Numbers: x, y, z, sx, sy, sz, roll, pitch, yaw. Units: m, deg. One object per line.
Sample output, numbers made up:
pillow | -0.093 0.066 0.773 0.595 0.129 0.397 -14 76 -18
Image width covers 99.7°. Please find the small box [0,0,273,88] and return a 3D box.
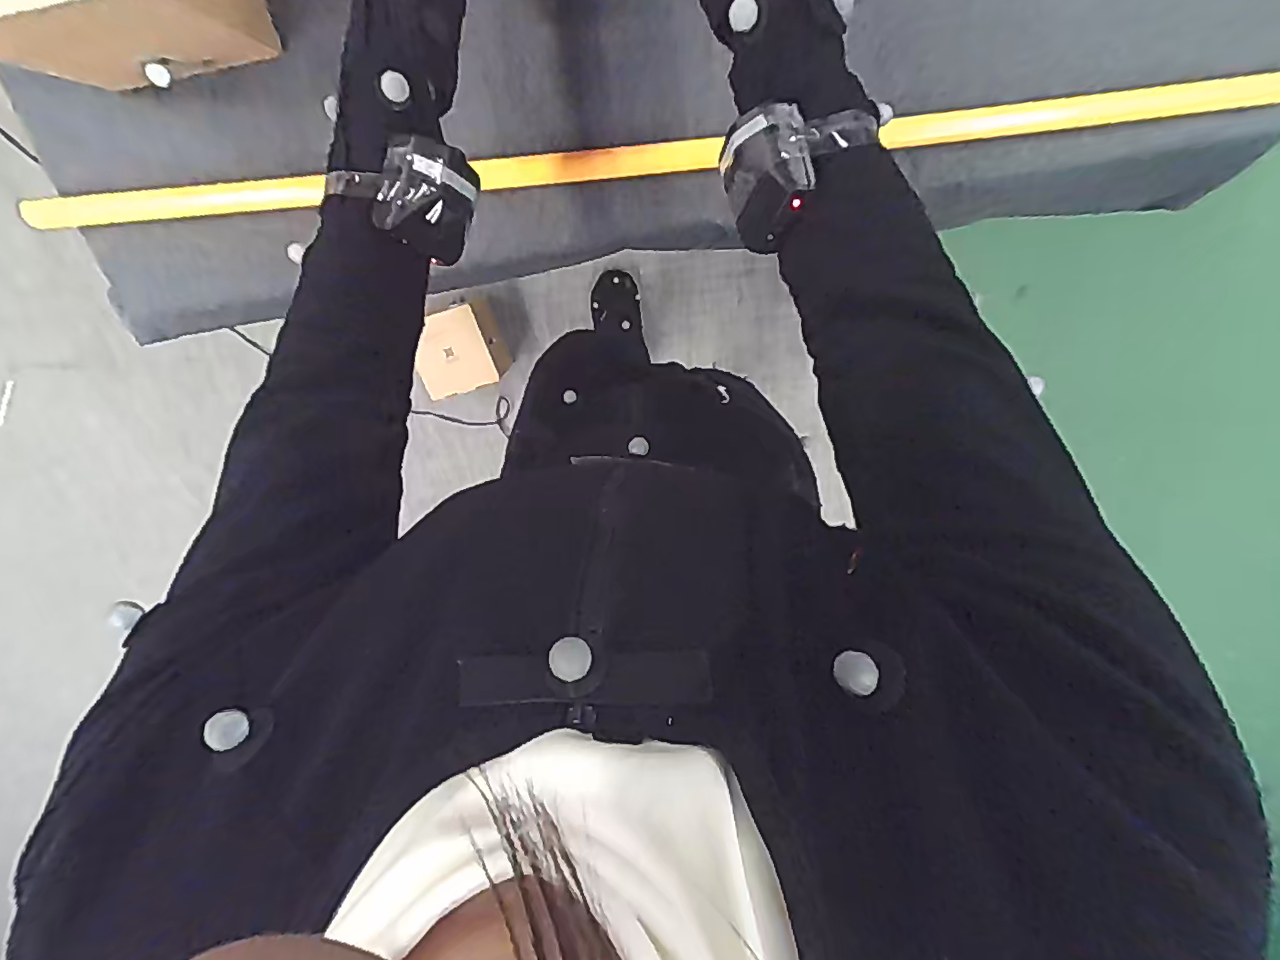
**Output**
small box | -0.416 -0.413 0.383 0.168 0.176 0.179 -10 116 2
